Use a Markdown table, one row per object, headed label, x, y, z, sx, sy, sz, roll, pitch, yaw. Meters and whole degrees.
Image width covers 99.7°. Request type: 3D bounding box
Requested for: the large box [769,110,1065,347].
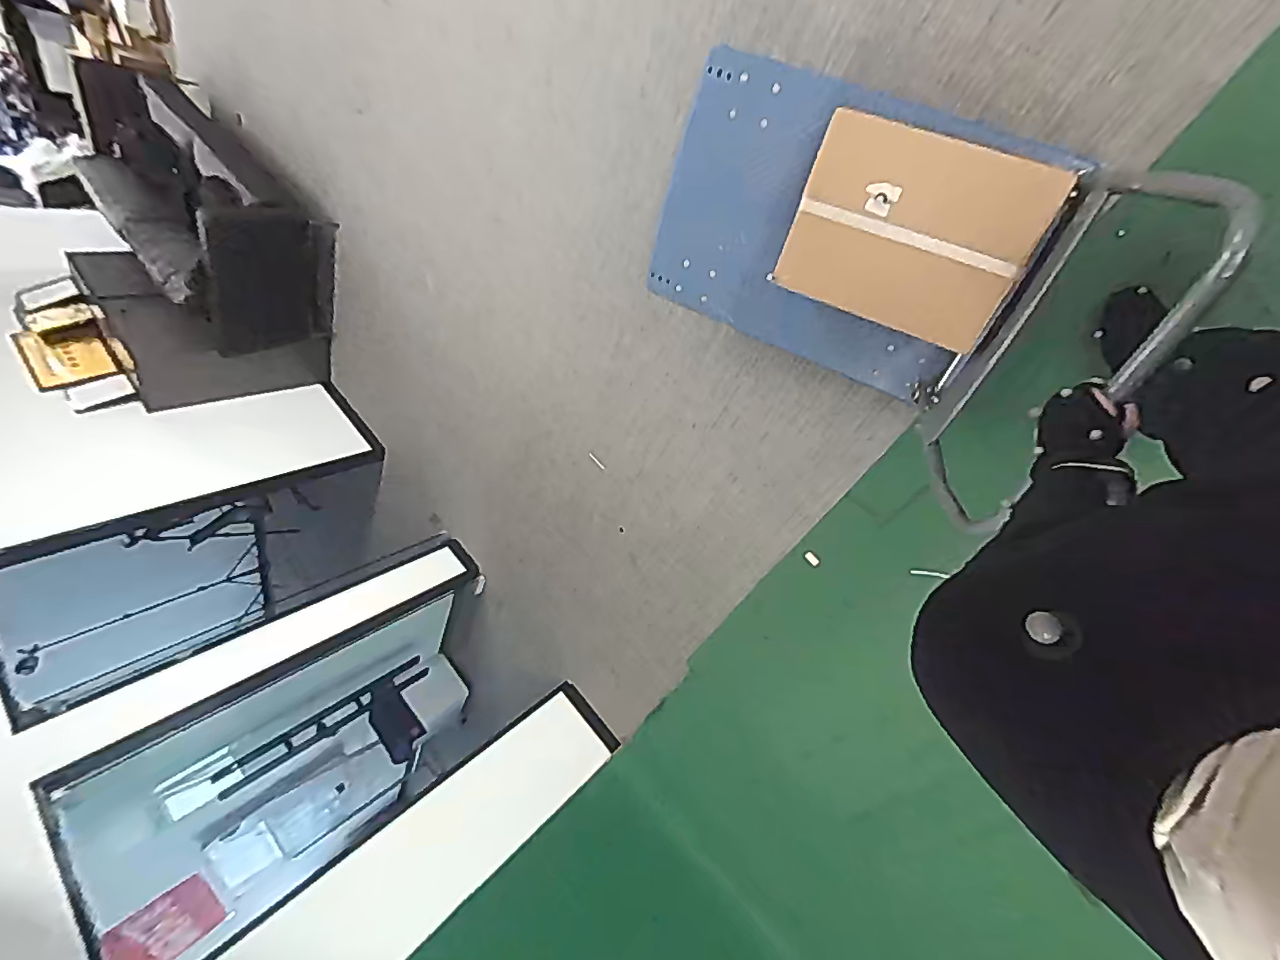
| label | x | y | z | sx | sy | sz | roll | pitch | yaw |
| --- | --- | --- | --- | --- | --- | --- | --- | --- | --- |
| large box | 0.537 | -0.517 | 1.103 | 0.408 | 0.320 | 0.320 | 26 | 125 | 14 |
